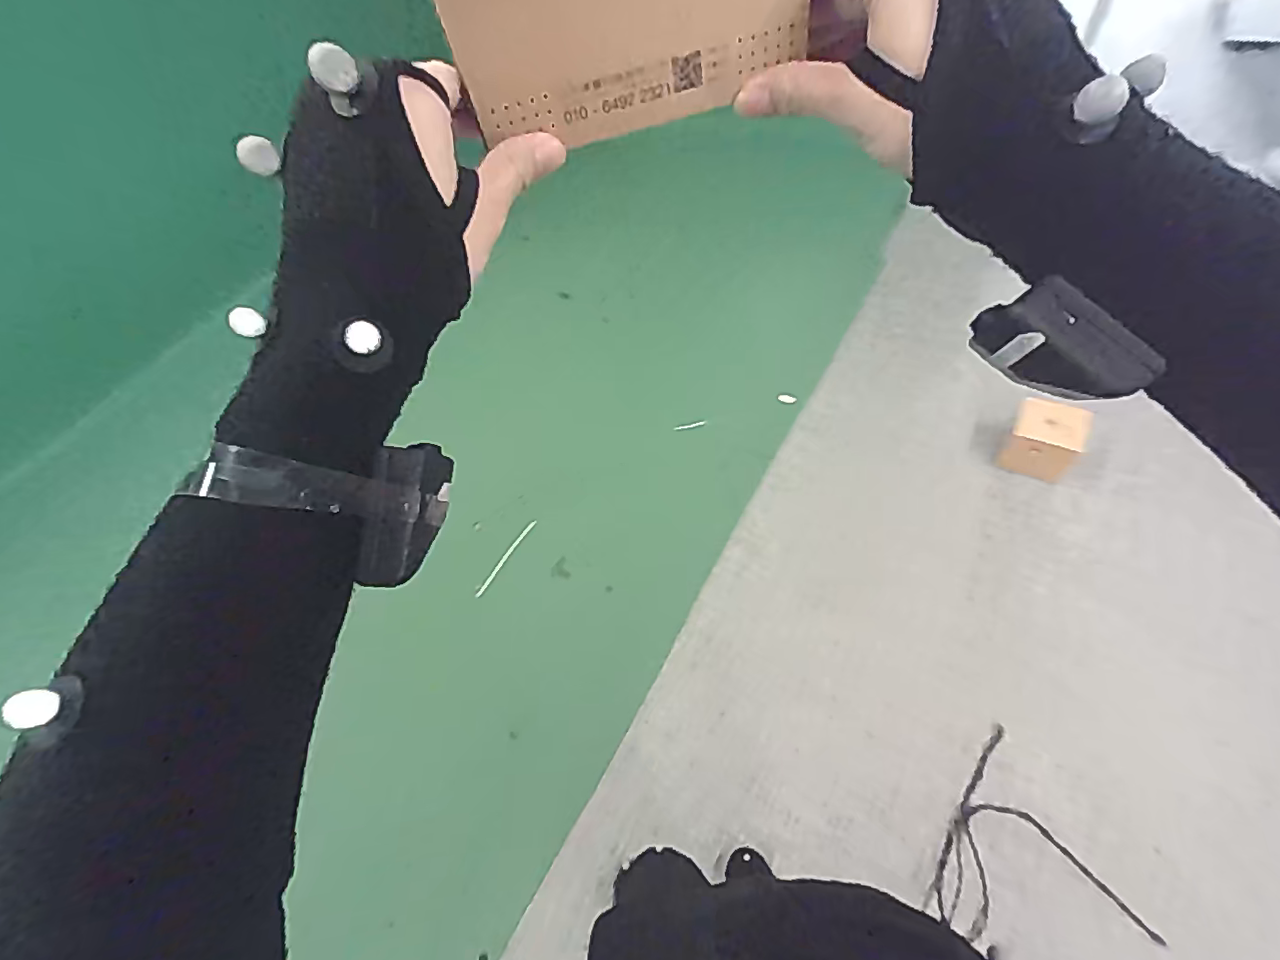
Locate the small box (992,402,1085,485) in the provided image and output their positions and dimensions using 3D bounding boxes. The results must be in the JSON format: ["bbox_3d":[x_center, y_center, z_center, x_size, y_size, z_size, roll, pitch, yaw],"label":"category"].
[{"bbox_3d":[1.236,-0.110,1.689,0.179,0.176,0.168,22,63,24],"label":"small box"}]
